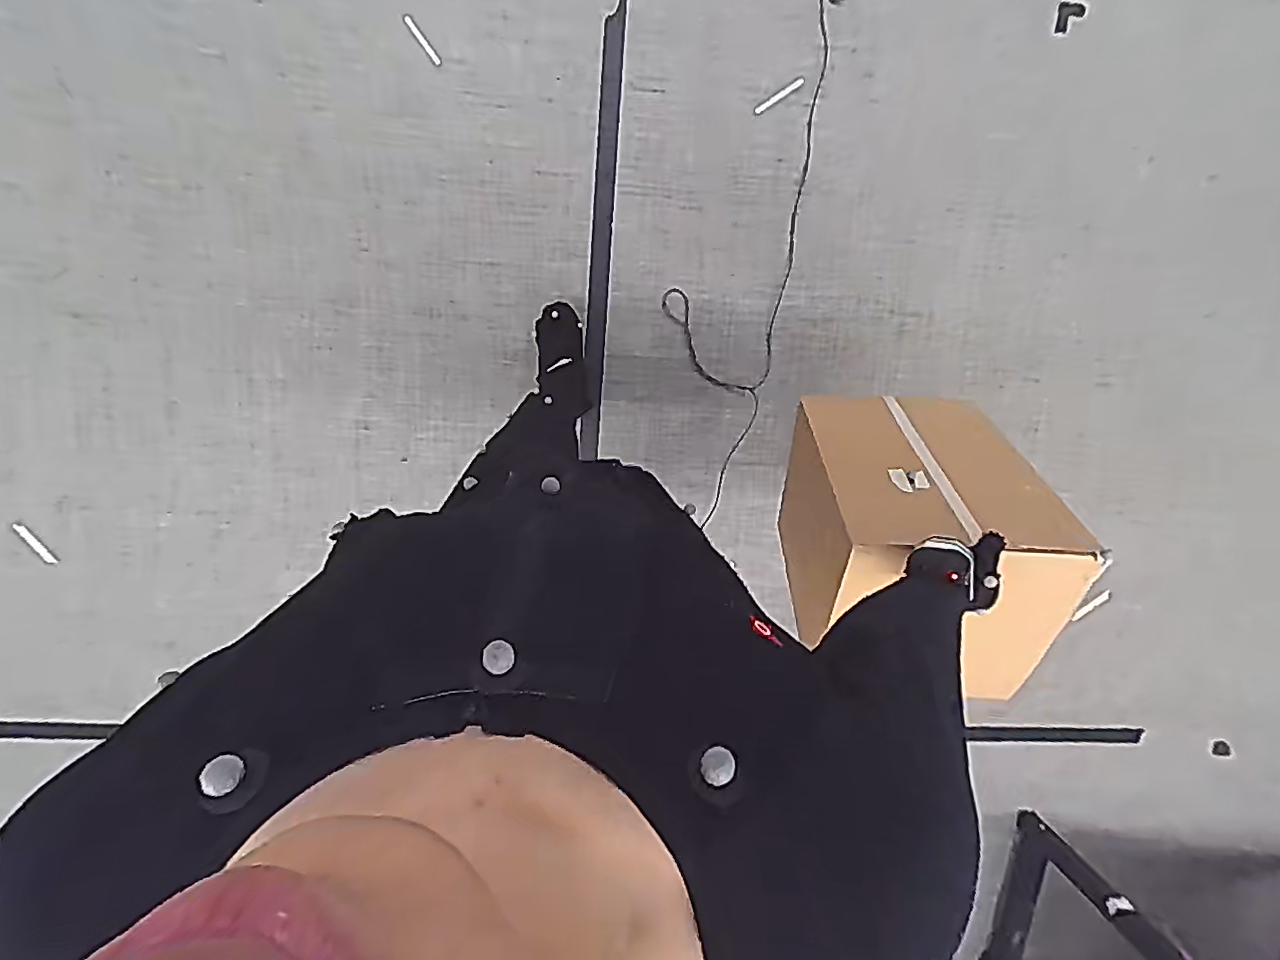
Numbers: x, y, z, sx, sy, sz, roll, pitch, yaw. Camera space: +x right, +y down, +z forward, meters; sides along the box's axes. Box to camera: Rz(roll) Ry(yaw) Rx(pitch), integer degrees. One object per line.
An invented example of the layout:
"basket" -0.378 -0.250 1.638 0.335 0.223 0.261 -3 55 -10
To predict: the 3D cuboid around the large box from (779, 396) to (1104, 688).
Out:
"large box" 0.444 0.089 0.932 0.320 0.408 0.320 1 128 4
